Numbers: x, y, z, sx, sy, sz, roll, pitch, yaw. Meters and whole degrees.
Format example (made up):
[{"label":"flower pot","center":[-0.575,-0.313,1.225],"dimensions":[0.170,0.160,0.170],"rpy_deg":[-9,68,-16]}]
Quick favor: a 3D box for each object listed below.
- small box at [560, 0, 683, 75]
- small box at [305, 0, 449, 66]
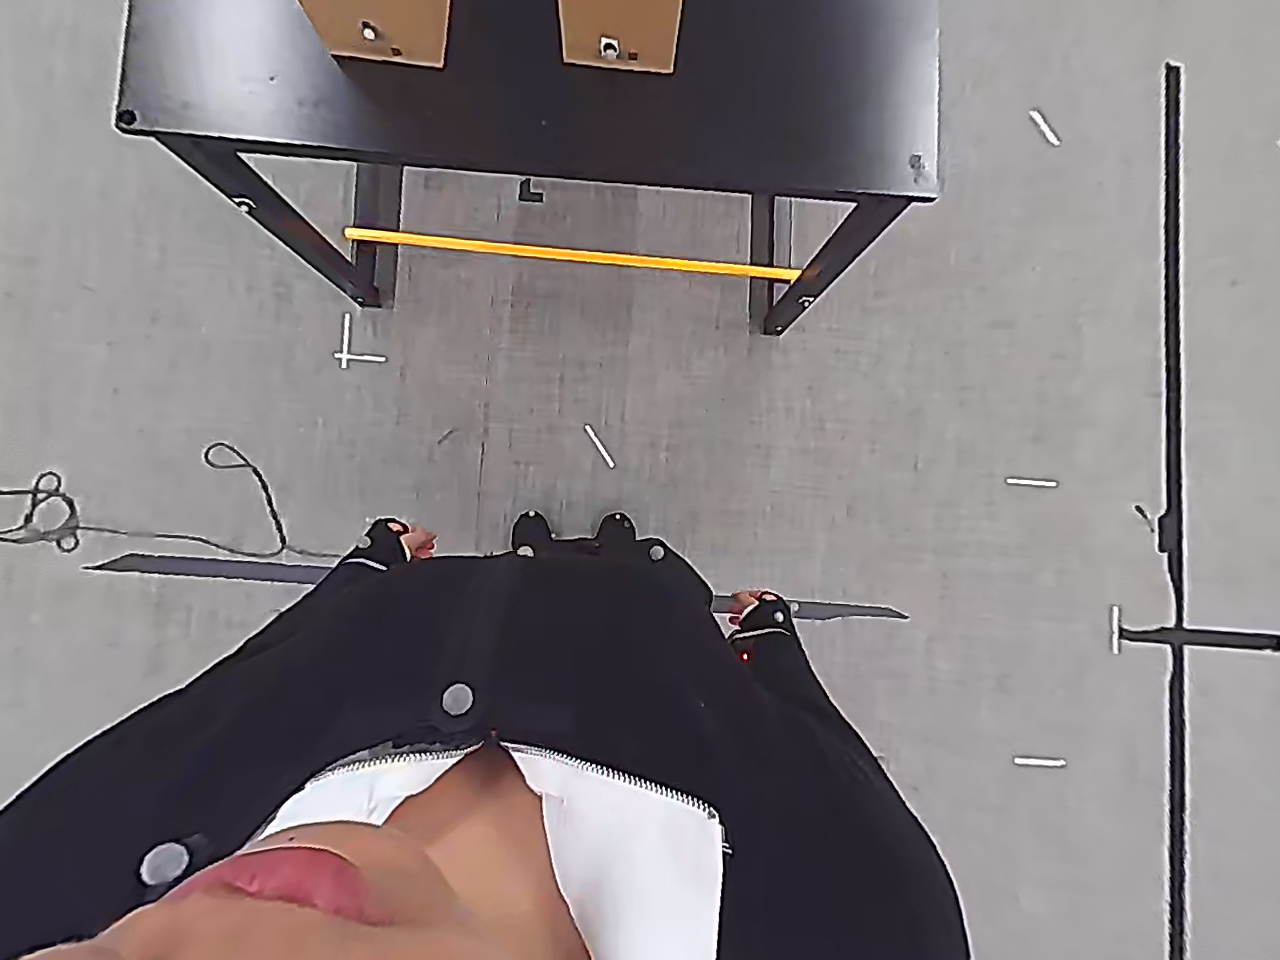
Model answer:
[{"label":"small box","center":[-0.024,-0.710,0.742],"dimensions":[0.168,0.176,0.179],"rpy_deg":[2,88,-2]},{"label":"small box","center":[-0.361,-0.707,0.717],"dimensions":[0.168,0.176,0.179],"rpy_deg":[5,87,-3]}]
